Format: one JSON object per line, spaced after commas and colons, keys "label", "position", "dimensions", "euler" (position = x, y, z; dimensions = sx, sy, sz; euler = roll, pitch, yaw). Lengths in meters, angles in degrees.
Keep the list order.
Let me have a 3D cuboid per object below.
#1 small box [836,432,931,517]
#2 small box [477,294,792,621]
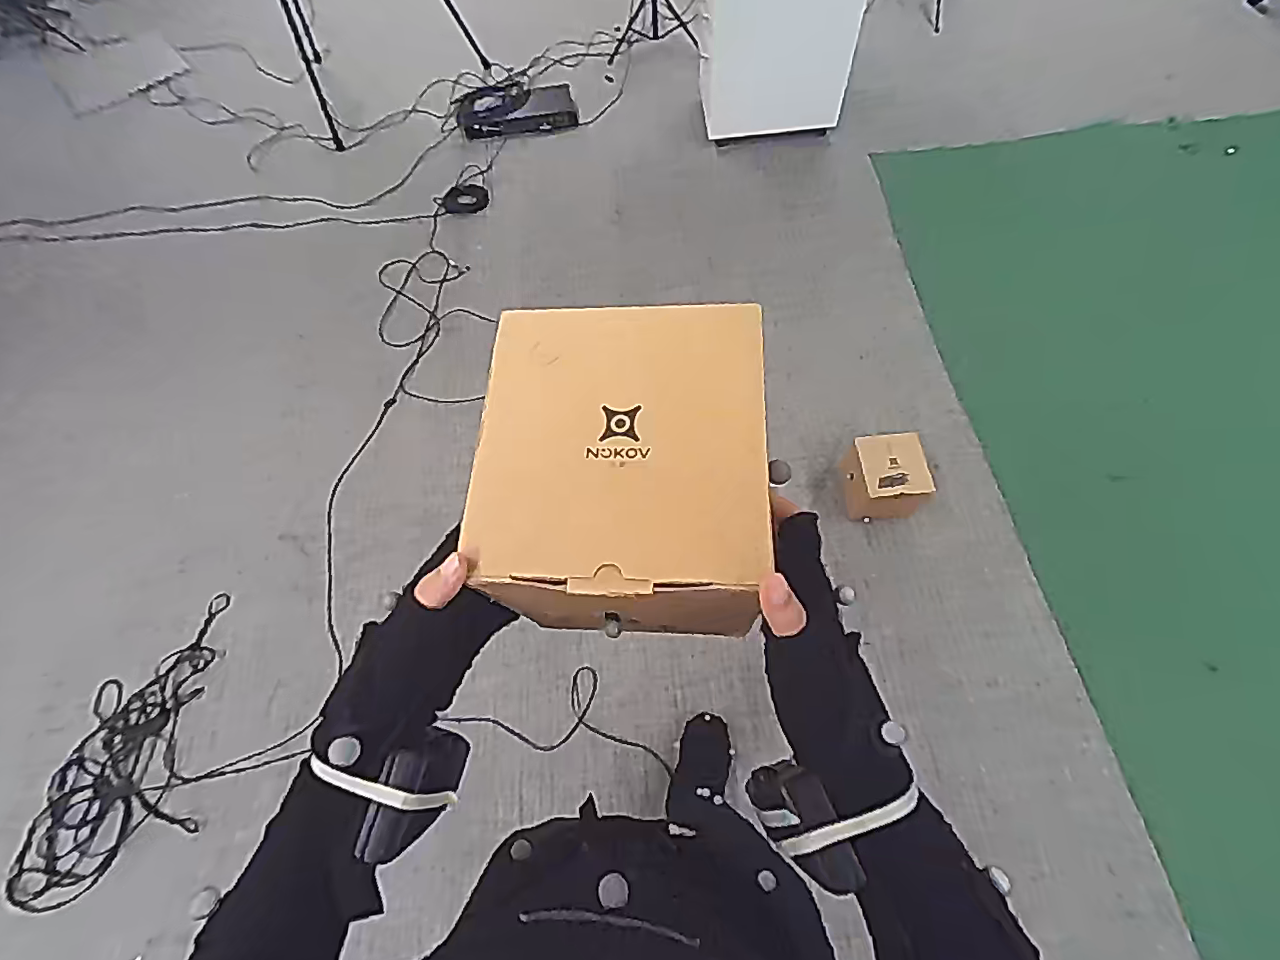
{"label": "small box", "position": [0.642, -0.007, 1.444], "dimensions": [0.168, 0.176, 0.179], "euler": [-4, 64, 2]}
{"label": "small box", "position": [0.007, -0.005, 0.380], "dimensions": [0.168, 0.176, 0.179], "euler": [0, 68, 6]}
